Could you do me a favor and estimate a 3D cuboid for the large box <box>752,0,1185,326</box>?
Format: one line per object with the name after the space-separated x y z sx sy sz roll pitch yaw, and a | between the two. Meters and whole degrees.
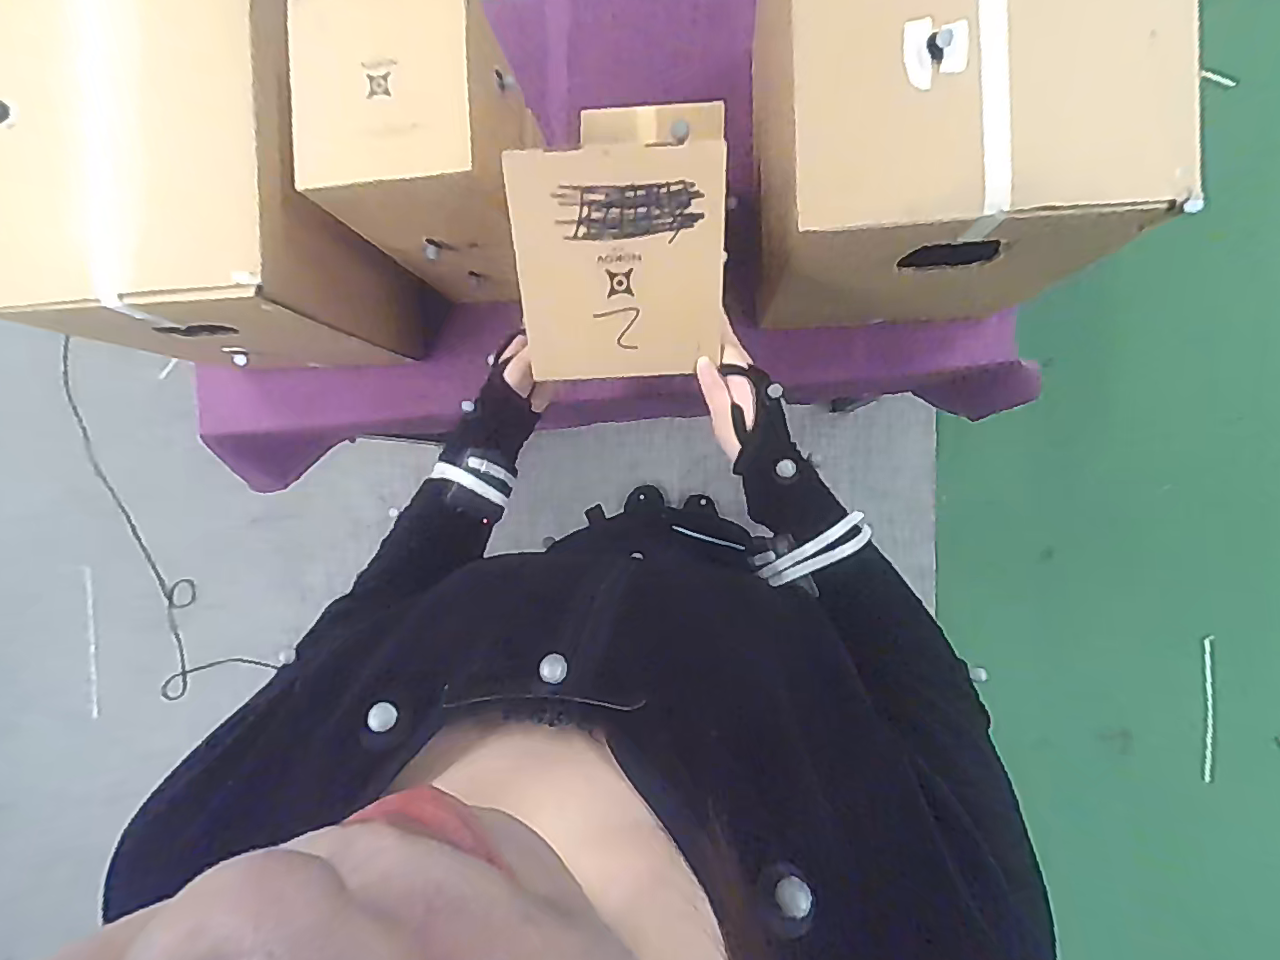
0.305 -0.415 0.604 0.320 0.320 0.408 -1 91 5 | large box
